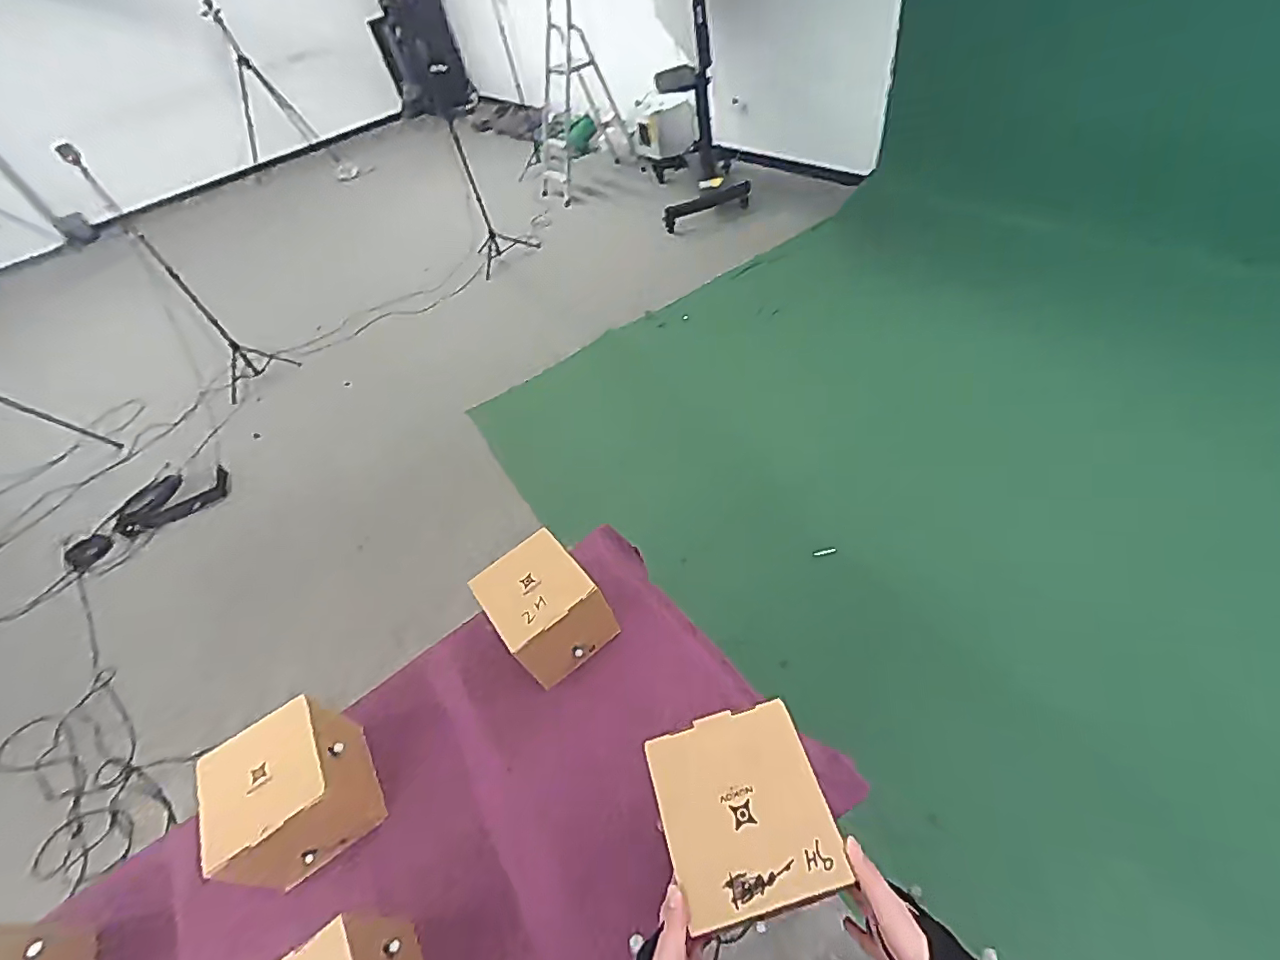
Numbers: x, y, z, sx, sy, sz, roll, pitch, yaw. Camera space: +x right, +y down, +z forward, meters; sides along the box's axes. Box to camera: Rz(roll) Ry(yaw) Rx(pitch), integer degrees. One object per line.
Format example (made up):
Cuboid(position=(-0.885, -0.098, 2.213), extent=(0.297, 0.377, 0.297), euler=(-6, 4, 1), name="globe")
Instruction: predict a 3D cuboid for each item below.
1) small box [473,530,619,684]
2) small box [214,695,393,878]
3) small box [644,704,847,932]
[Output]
Cuboid(position=(-0.164, 0.231, 0.971), extent=(0.168, 0.176, 0.179), euler=(-37, 51, -14), name="small box")
Cuboid(position=(-0.523, 0.484, 0.852), extent=(0.168, 0.176, 0.179), euler=(-33, 51, -15), name="small box")
Cuboid(position=(0.113, 0.388, 0.620), extent=(0.168, 0.176, 0.179), euler=(-18, 50, 1), name="small box")
